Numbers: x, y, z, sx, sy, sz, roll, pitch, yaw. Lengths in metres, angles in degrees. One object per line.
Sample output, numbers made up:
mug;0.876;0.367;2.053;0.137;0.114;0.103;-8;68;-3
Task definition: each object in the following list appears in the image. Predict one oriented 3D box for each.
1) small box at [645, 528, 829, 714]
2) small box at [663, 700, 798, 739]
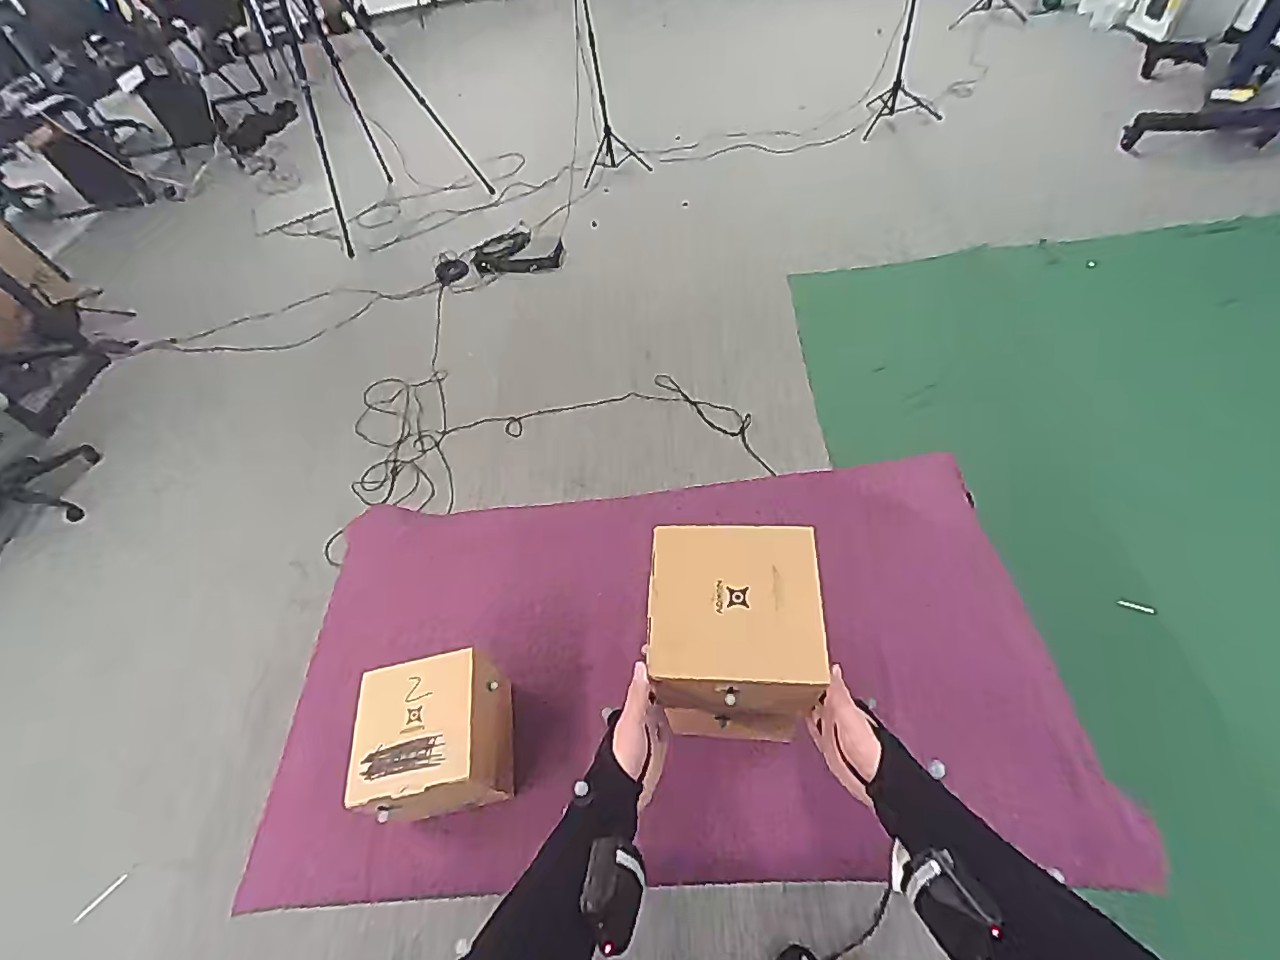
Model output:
small box;0.106;0.165;0.617;0.179;0.176;0.168;0;59;8
small box;0.134;0.273;0.794;0.179;0.176;0.168;-1;54;9
